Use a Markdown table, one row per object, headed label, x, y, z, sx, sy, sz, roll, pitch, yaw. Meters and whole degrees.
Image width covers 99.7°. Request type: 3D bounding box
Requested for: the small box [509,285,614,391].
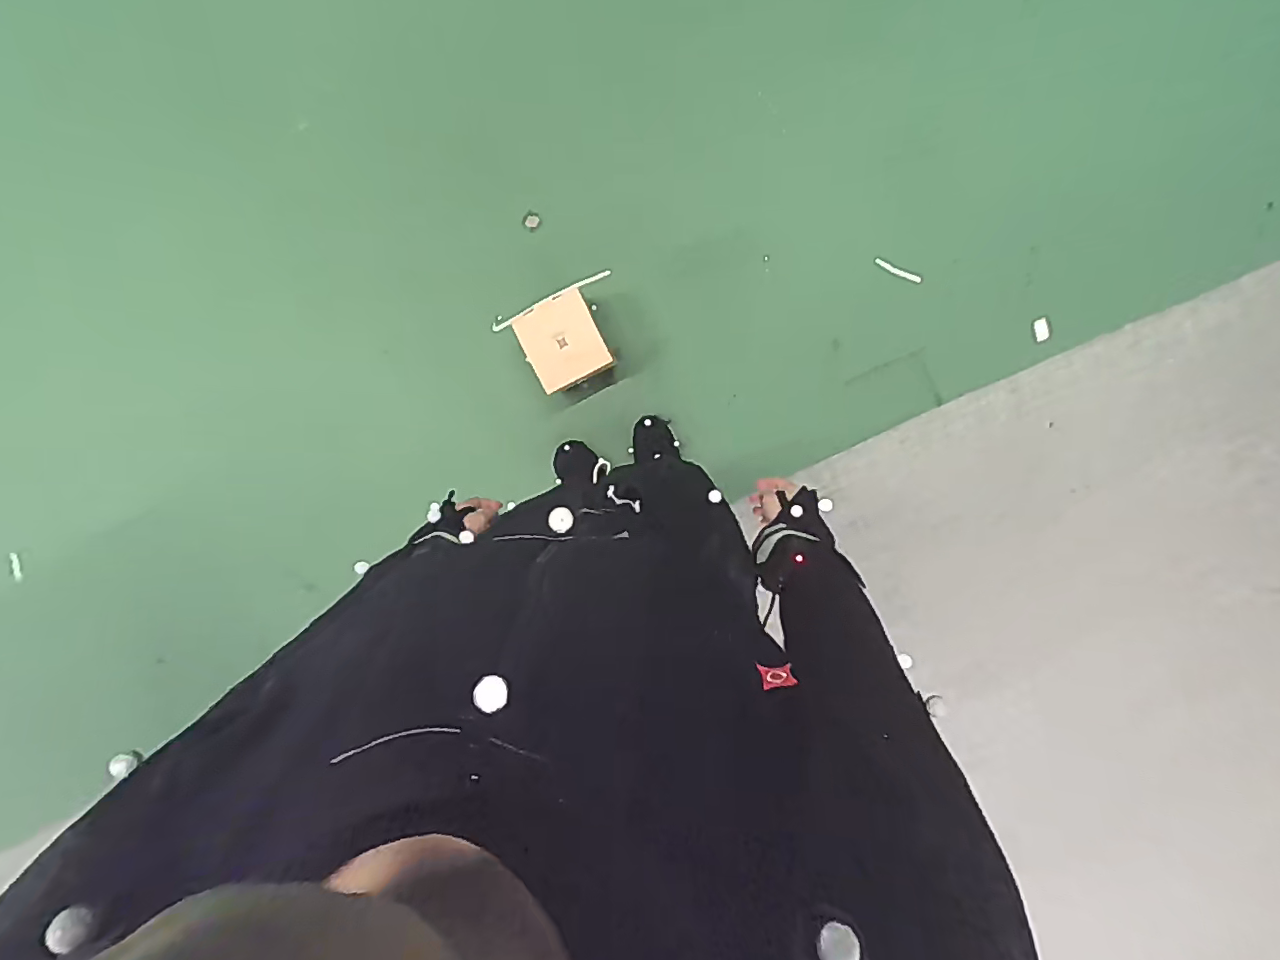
| label | x | y | z | sx | sy | sz | roll | pitch | yaw |
| --- | --- | --- | --- | --- | --- | --- | --- | --- | --- |
| small box | -0.171 | -0.316 | 1.235 | 0.168 | 0.176 | 0.179 | -26 | 99 | 6 |
